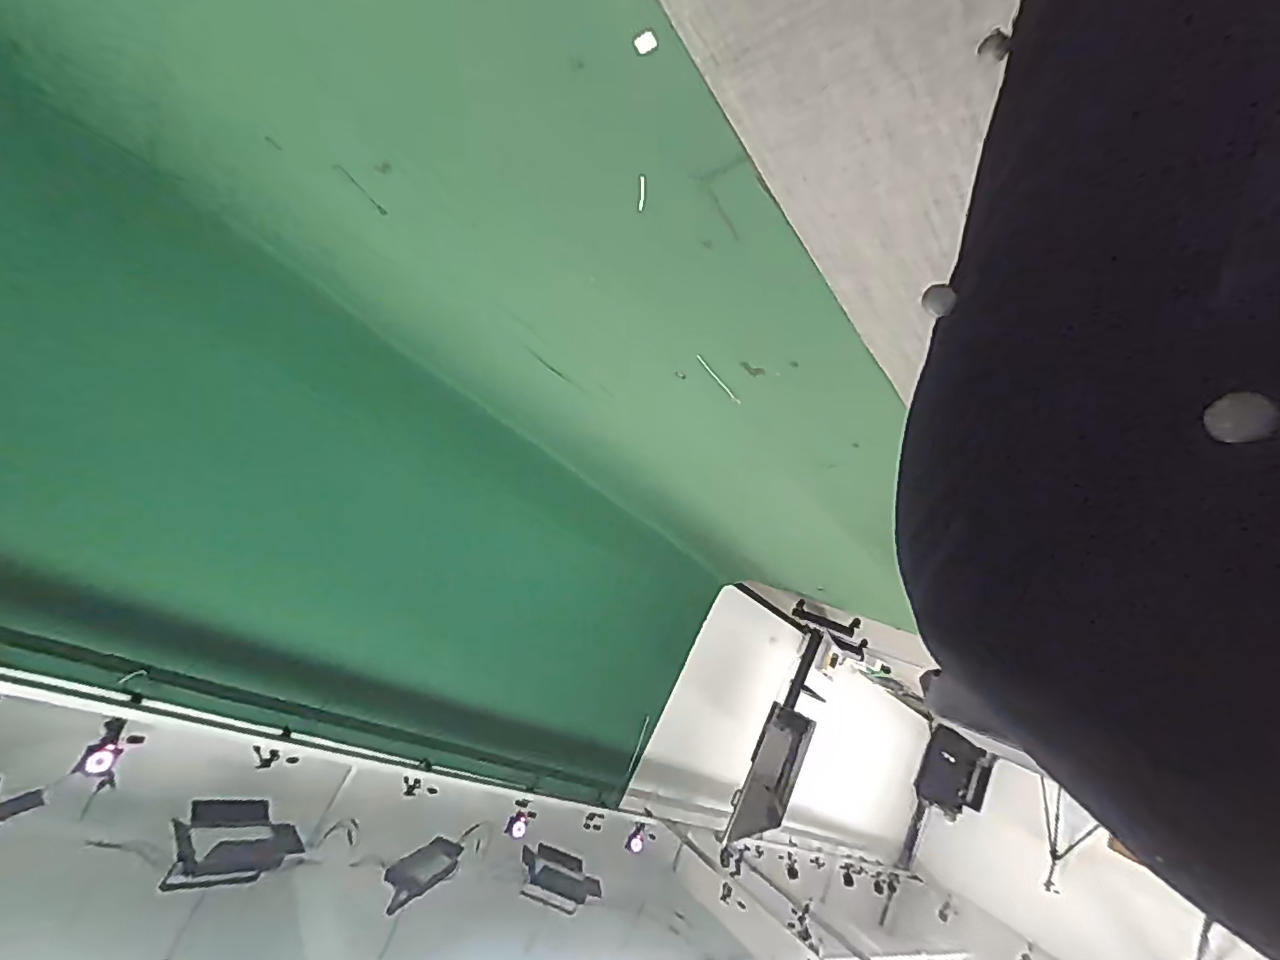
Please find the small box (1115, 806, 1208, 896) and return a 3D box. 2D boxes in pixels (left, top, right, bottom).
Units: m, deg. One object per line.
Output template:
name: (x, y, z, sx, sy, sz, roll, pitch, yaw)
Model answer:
small box: (1.603, 1.132, 1.664, 0.168, 0.176, 0.179, 38, 164, -37)
